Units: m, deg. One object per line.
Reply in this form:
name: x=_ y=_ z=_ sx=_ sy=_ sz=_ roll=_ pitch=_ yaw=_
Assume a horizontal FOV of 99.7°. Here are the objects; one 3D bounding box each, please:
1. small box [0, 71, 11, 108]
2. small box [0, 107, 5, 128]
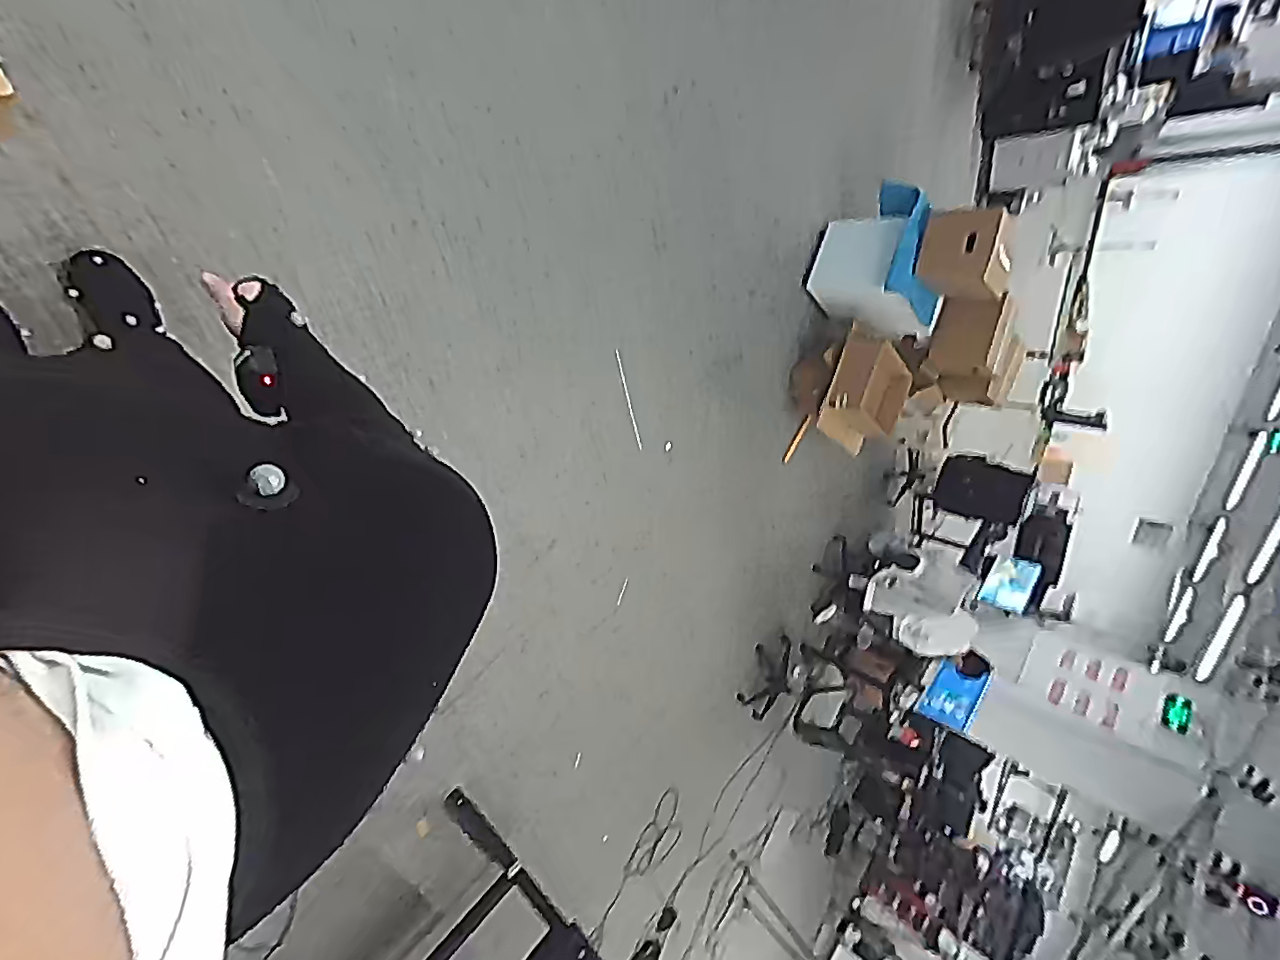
small box: x=-1.055 y=-0.618 z=0.756 sx=0.179 sy=0.176 sz=0.168 roll=-36 pitch=128 yaw=-32
small box: x=-1.175 y=-0.661 z=0.857 sx=0.168 sy=0.176 sz=0.179 roll=-36 pitch=129 yaw=-34
